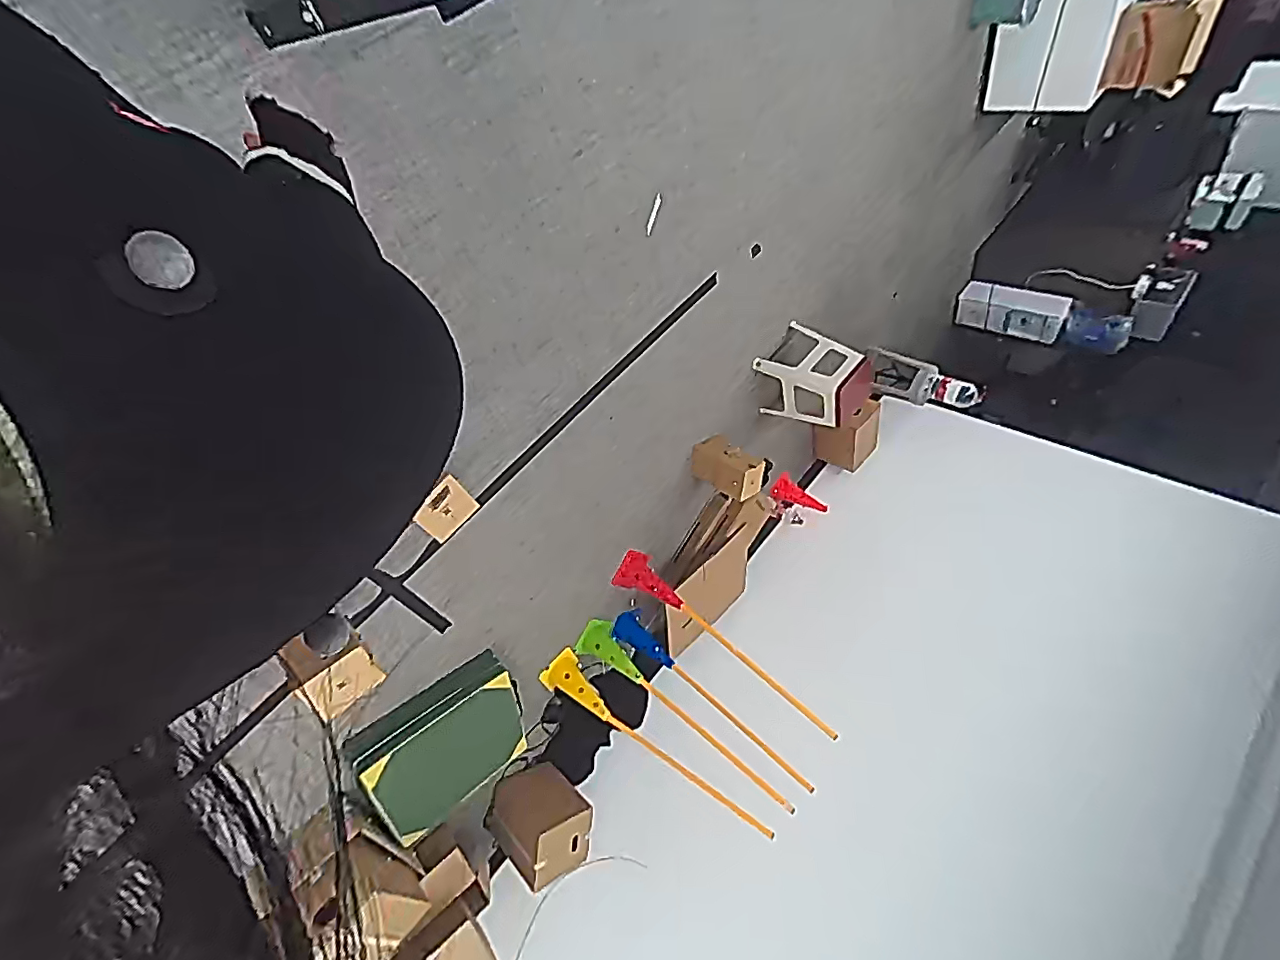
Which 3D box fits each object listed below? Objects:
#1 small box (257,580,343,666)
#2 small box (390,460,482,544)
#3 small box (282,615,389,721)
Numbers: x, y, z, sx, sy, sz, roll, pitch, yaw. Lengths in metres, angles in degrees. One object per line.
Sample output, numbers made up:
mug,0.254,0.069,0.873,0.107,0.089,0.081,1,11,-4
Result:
small box,-0.948,0.419,1.544,0.179,0.176,0.168,-33,137,-29
small box,-0.630,0.060,1.663,0.168,0.176,0.179,-47,143,-17
small box,-0.824,0.501,1.467,0.179,0.176,0.168,-35,137,-27
